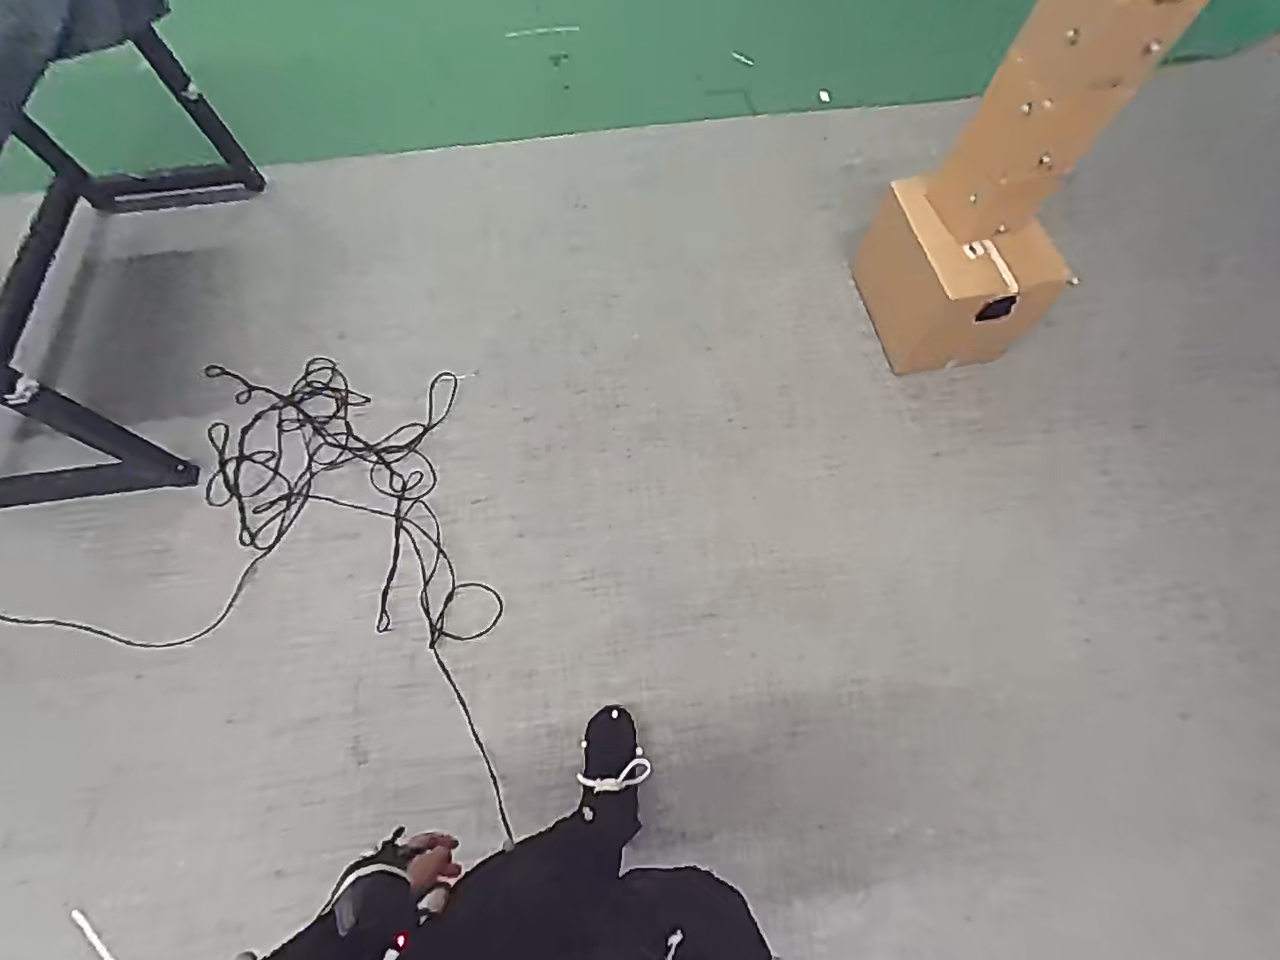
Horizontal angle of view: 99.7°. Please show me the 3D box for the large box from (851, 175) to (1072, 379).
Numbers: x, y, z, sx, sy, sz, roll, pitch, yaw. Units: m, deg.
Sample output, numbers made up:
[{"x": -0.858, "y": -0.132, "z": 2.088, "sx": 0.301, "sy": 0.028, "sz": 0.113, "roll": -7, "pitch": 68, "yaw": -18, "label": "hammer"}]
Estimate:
[{"x": 0.833, "y": -0.544, "z": 1.473, "sx": 0.320, "sy": 0.320, "sz": 0.408, "roll": -10, "pitch": 68, "yaw": -2, "label": "large box"}]

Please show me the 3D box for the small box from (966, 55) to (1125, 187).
[{"x": 0.819, "y": -0.745, "z": 1.117, "sx": 0.168, "sy": 0.176, "sz": 0.179, "roll": -10, "pitch": 68, "yaw": -3, "label": "small box"}]

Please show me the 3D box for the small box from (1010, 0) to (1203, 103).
[{"x": 0.821, "y": -0.810, "z": 0.968, "sx": 0.168, "sy": 0.176, "sz": 0.179, "roll": -10, "pitch": 67, "yaw": -4, "label": "small box"}]
